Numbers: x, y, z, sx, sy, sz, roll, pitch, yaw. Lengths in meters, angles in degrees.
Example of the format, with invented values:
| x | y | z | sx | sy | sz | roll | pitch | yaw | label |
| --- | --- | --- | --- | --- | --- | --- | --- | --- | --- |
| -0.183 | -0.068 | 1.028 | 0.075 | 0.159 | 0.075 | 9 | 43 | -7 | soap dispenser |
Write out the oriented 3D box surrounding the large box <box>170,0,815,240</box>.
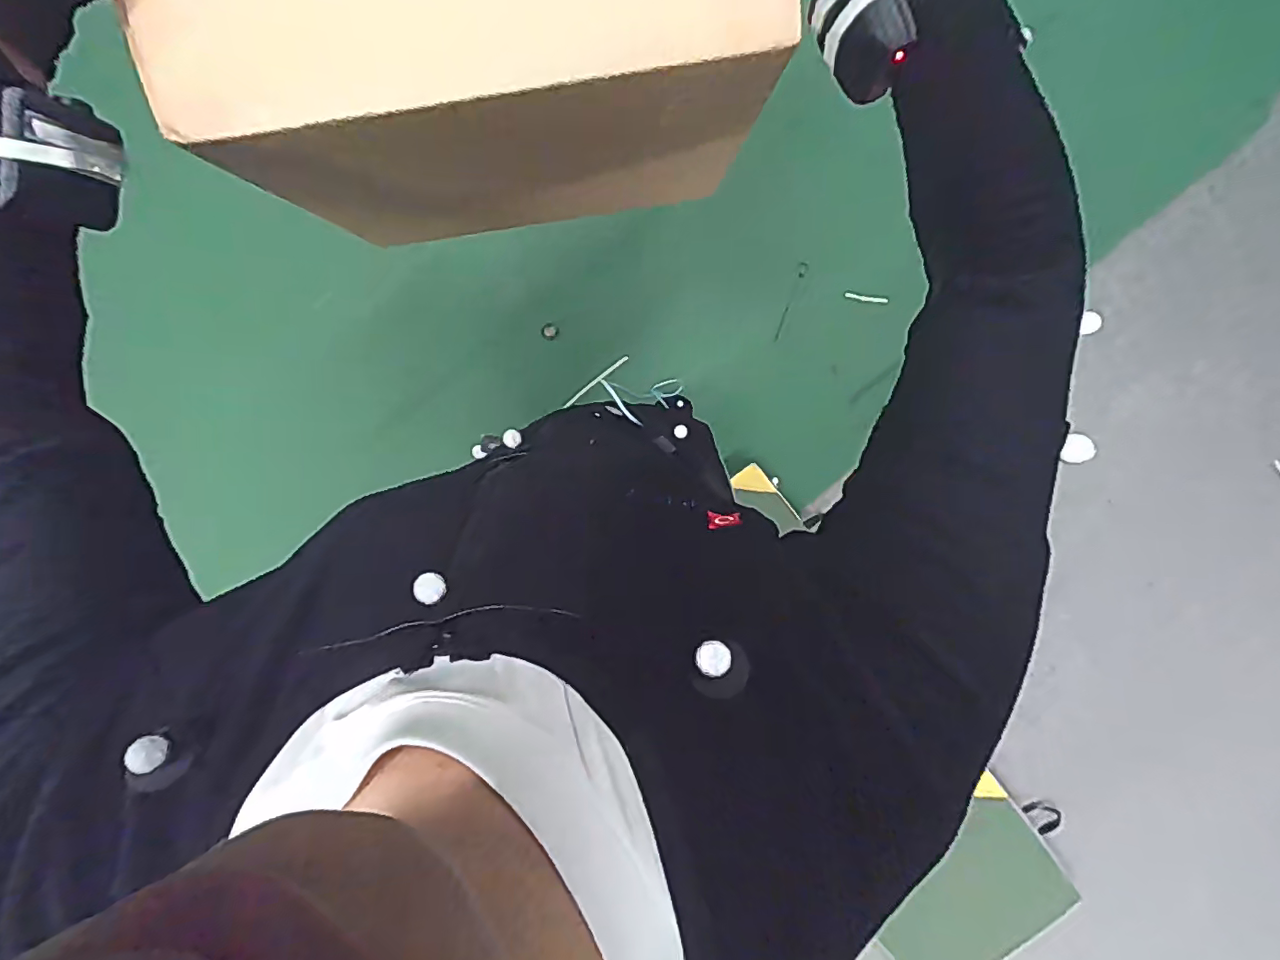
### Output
| x | y | z | sx | sy | sz | roll | pitch | yaw | label |
| --- | --- | --- | --- | --- | --- | --- | --- | --- | --- |
| -0.114 | -0.430 | 0.464 | 0.408 | 0.320 | 0.320 | -10 | 103 | -2 | large box |
